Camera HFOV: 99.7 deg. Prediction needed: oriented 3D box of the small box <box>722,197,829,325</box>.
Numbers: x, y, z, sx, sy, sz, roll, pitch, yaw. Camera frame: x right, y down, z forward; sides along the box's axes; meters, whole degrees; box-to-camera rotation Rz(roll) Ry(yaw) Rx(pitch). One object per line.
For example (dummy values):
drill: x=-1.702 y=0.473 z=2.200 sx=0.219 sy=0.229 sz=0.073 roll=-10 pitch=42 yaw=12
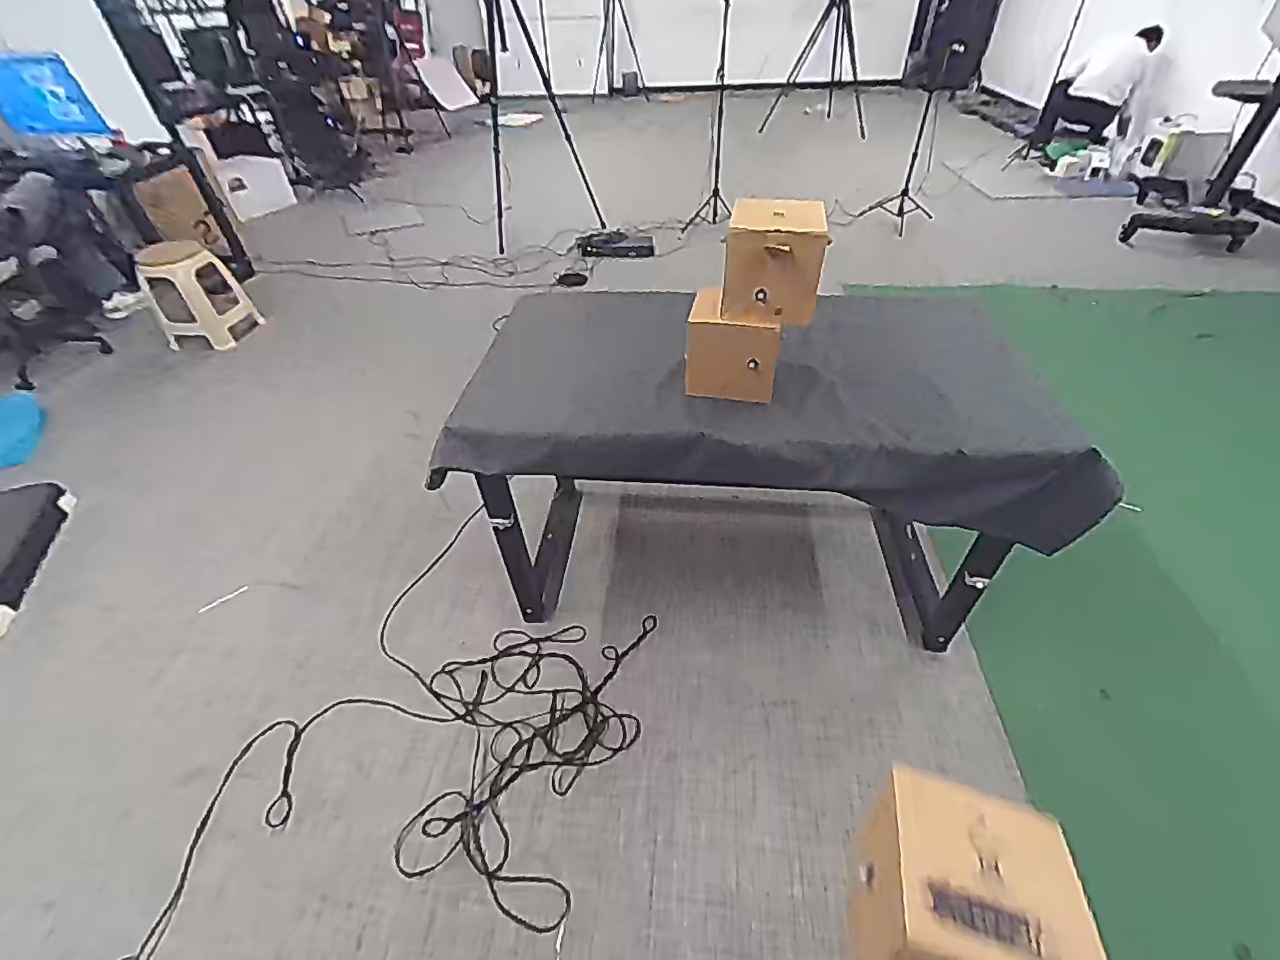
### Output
small box: x=0.247 y=-0.409 z=1.007 sx=0.168 sy=0.176 sz=0.179 roll=7 pitch=43 yaw=9

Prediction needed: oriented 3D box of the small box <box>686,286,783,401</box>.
small box: x=0.194 y=-0.278 z=1.106 sx=0.179 sy=0.176 sz=0.168 roll=7 pitch=42 yaw=11
